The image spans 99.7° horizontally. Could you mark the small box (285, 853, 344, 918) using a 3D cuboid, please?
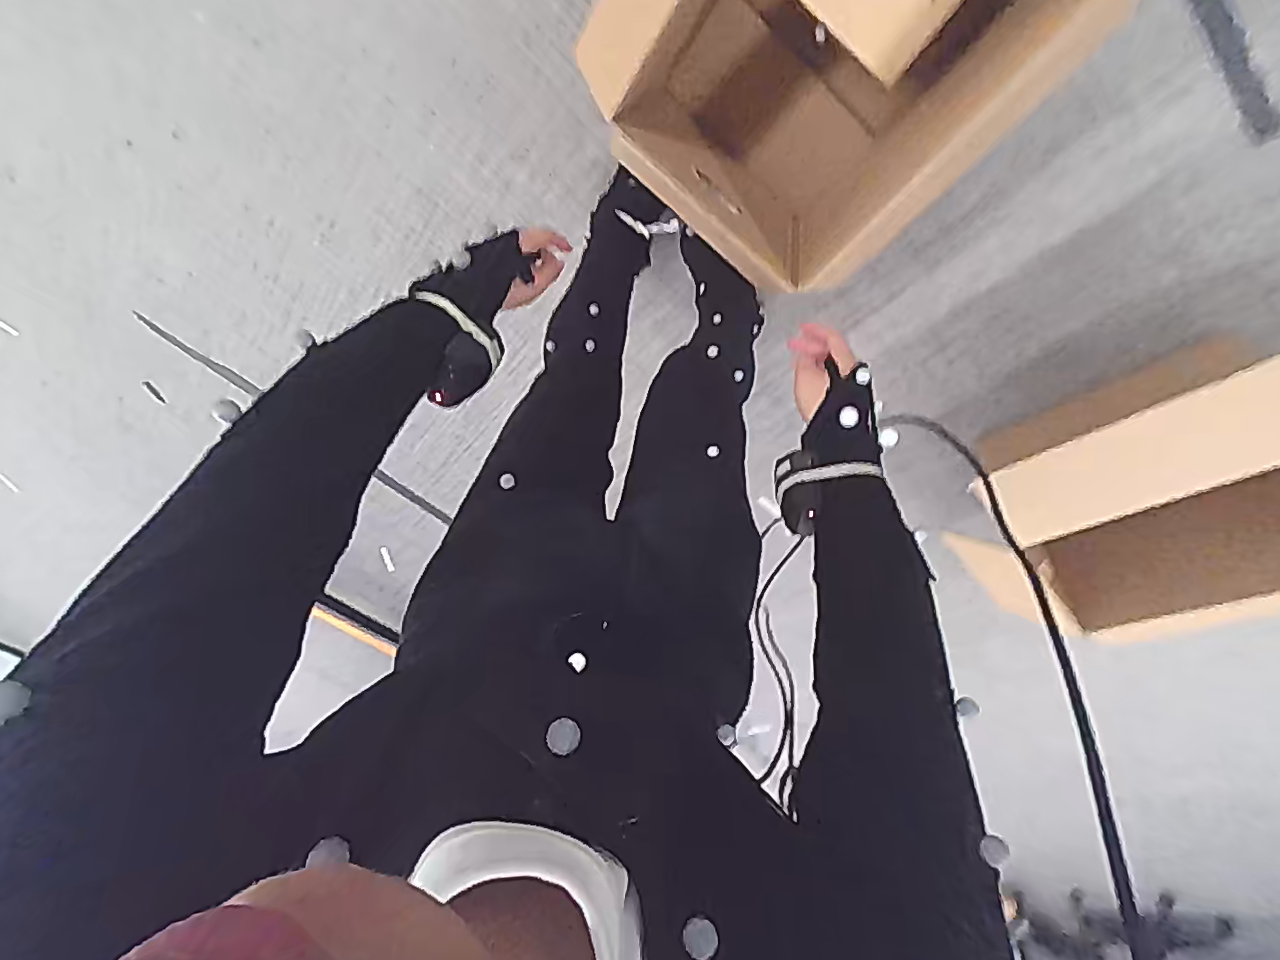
[{"bbox_3d":[-1.158,1.487,1.982,0.179,0.168,0.176,36,133,-27],"label":"small box"}]
